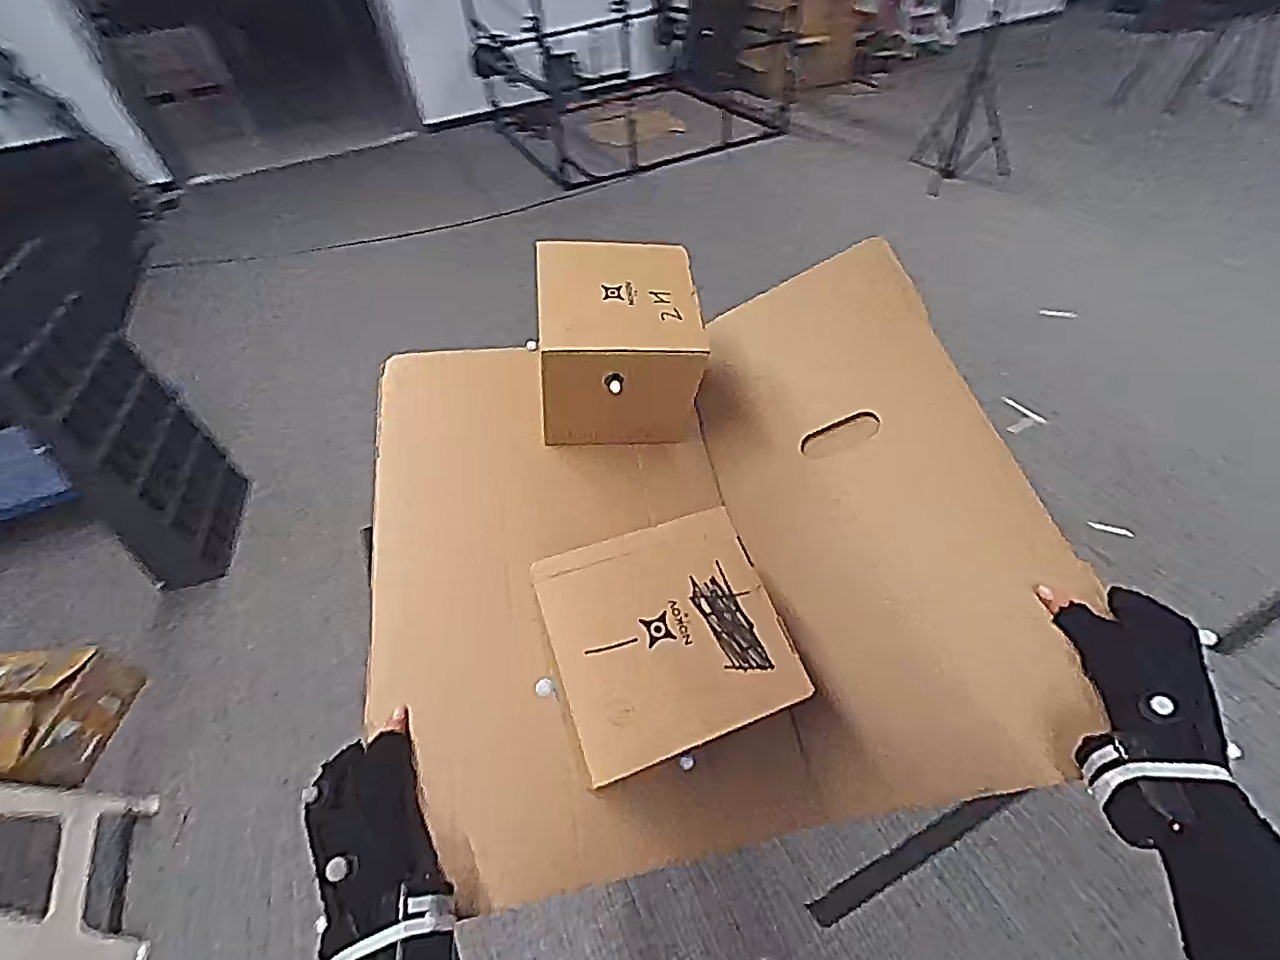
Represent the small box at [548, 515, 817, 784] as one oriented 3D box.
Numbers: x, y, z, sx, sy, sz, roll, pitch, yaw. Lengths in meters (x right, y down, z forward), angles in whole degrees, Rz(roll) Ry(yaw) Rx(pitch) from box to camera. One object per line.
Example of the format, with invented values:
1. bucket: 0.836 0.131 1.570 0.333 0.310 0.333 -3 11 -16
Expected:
1. small box: 0.019 0.155 0.491 0.179 0.176 0.168 -14 64 -15
